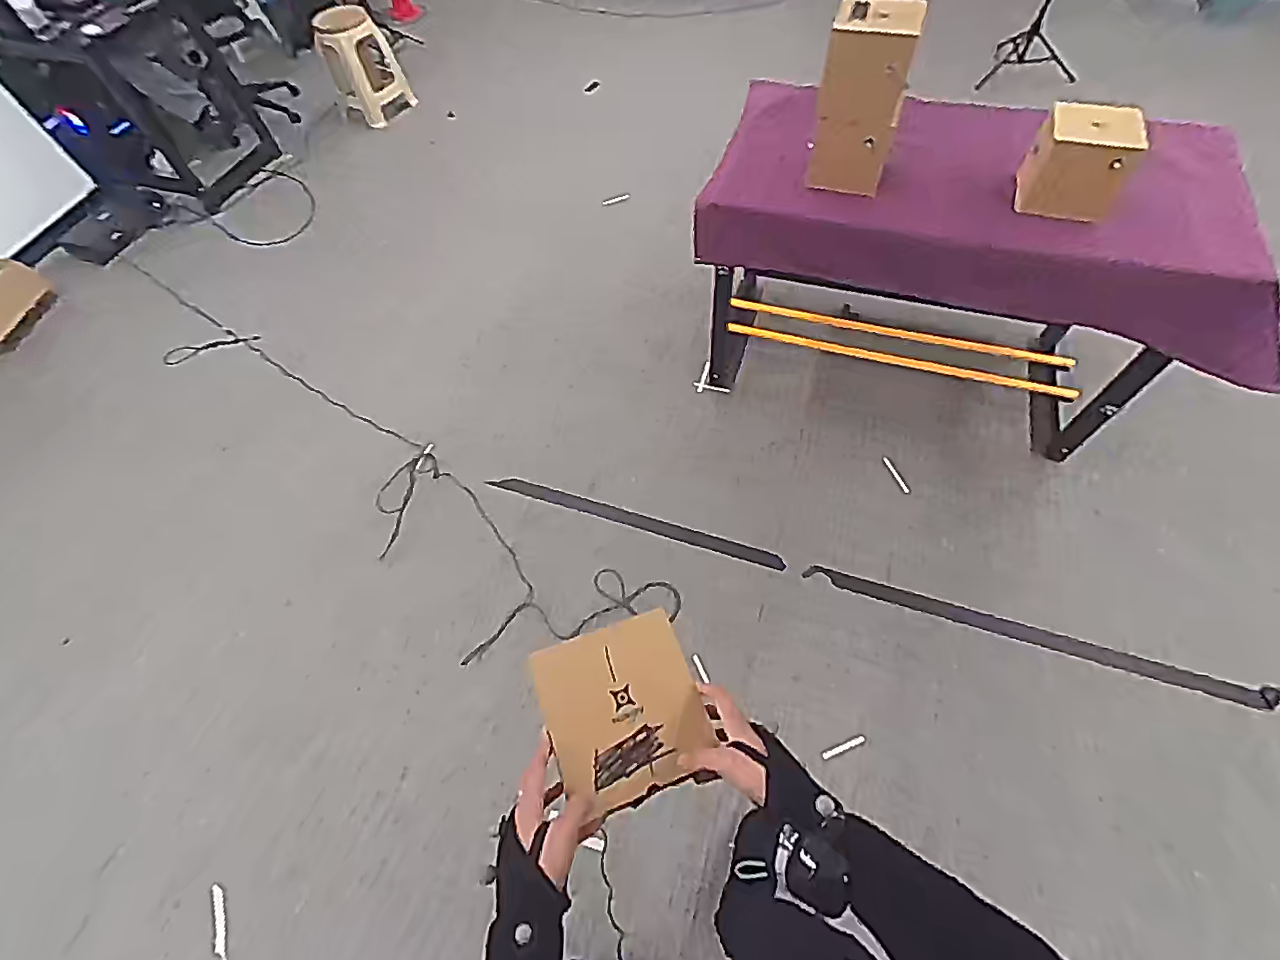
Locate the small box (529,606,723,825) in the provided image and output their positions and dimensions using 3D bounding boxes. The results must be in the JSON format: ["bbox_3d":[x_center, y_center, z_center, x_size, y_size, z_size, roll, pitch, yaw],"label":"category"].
[{"bbox_3d":[-0.025,0.276,0.641,0.168,0.176,0.179,-15,63,-16],"label":"small box"}]

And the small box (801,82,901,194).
[{"bbox_3d":[0.513,-0.834,1.326,0.179,0.176,0.168,16,62,13],"label":"small box"}]

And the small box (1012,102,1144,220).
[{"bbox_3d":[0.975,-0.718,1.222,0.179,0.176,0.168,16,62,13],"label":"small box"}]
